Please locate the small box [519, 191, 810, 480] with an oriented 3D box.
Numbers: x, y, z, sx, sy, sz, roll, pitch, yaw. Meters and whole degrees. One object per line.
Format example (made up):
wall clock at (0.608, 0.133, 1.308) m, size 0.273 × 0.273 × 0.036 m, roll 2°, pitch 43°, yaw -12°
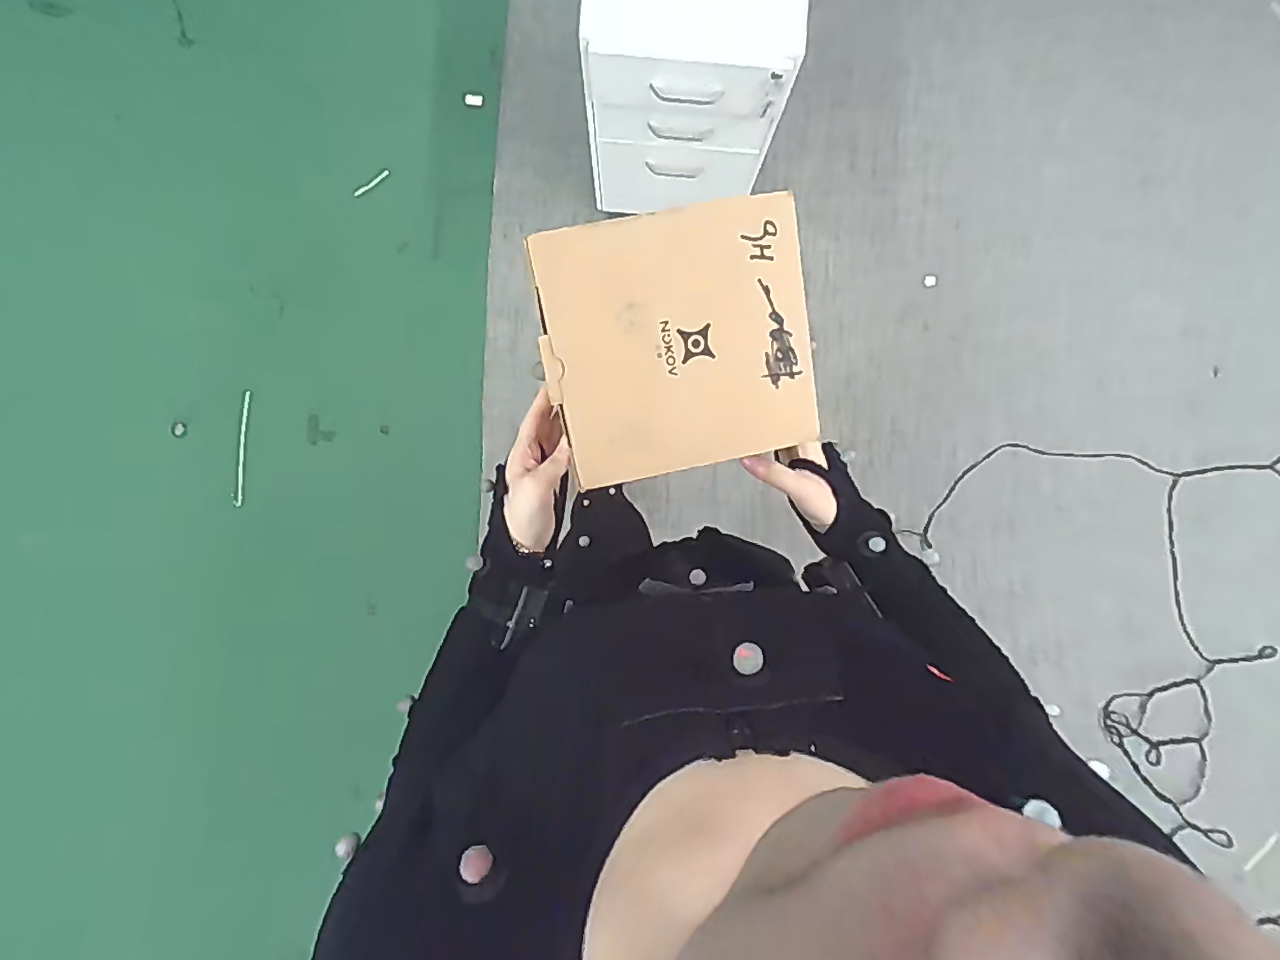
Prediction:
small box at (0.014, -0.107, 0.435) m, size 0.179 × 0.176 × 0.168 m, roll -11°, pitch 103°, yaw -5°
